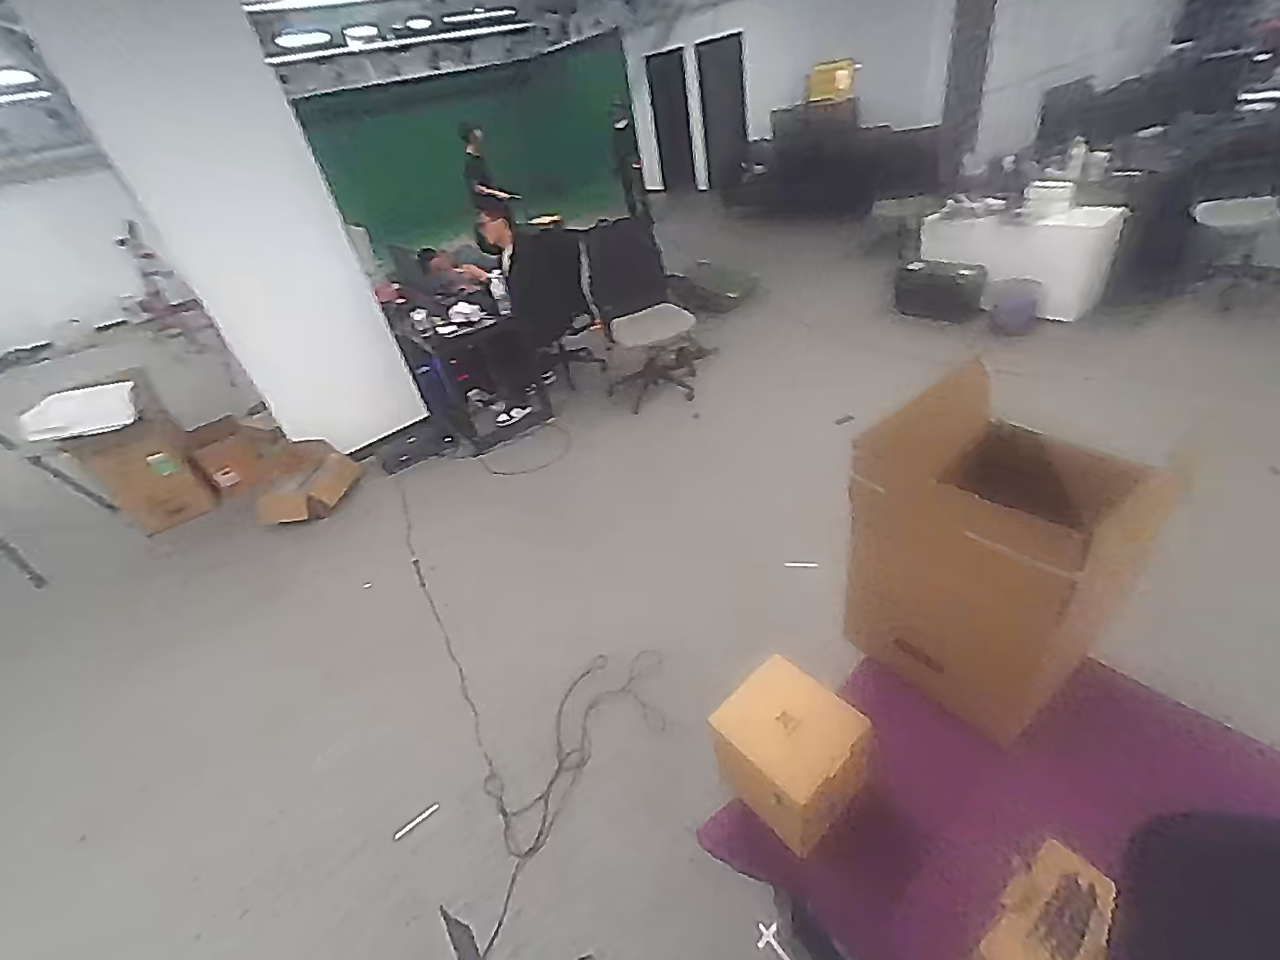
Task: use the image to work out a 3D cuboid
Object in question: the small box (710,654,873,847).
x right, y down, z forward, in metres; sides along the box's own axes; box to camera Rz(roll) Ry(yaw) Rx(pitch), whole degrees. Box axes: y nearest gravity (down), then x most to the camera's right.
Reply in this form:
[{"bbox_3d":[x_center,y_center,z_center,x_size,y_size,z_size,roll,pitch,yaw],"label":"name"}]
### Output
[{"bbox_3d":[0.231,0.417,0.839,0.168,0.176,0.179,-33,41,-27],"label":"small box"}]
